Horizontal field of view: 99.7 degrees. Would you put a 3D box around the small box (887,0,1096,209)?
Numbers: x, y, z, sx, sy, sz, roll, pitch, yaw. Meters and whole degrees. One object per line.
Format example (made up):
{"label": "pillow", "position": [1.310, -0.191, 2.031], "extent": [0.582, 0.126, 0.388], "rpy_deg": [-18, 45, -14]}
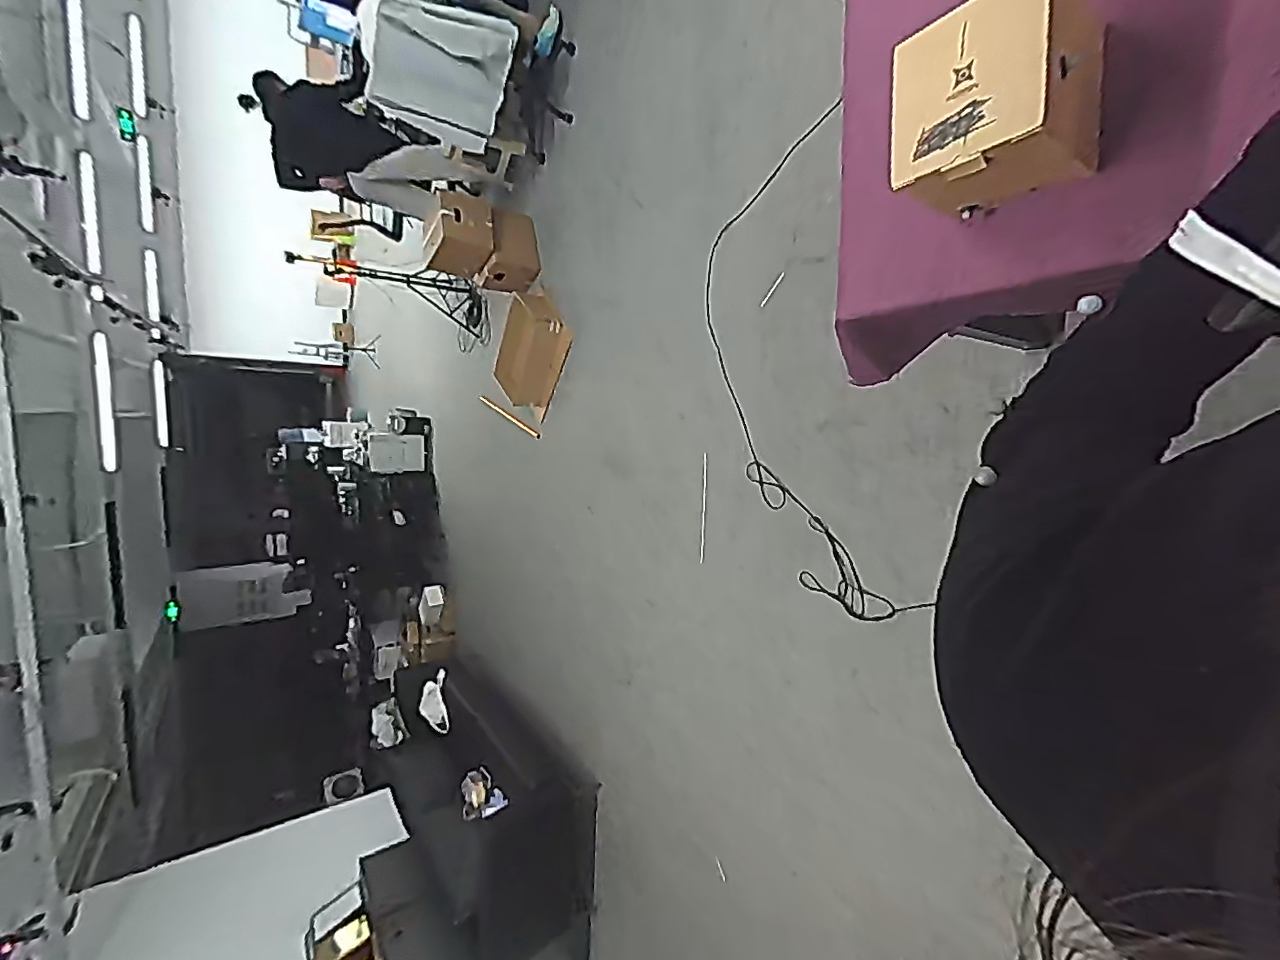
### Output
{"label": "small box", "position": [0.428, -0.456, 0.662], "extent": [0.168, 0.176, 0.179], "rpy_deg": [5, 95, 54]}
